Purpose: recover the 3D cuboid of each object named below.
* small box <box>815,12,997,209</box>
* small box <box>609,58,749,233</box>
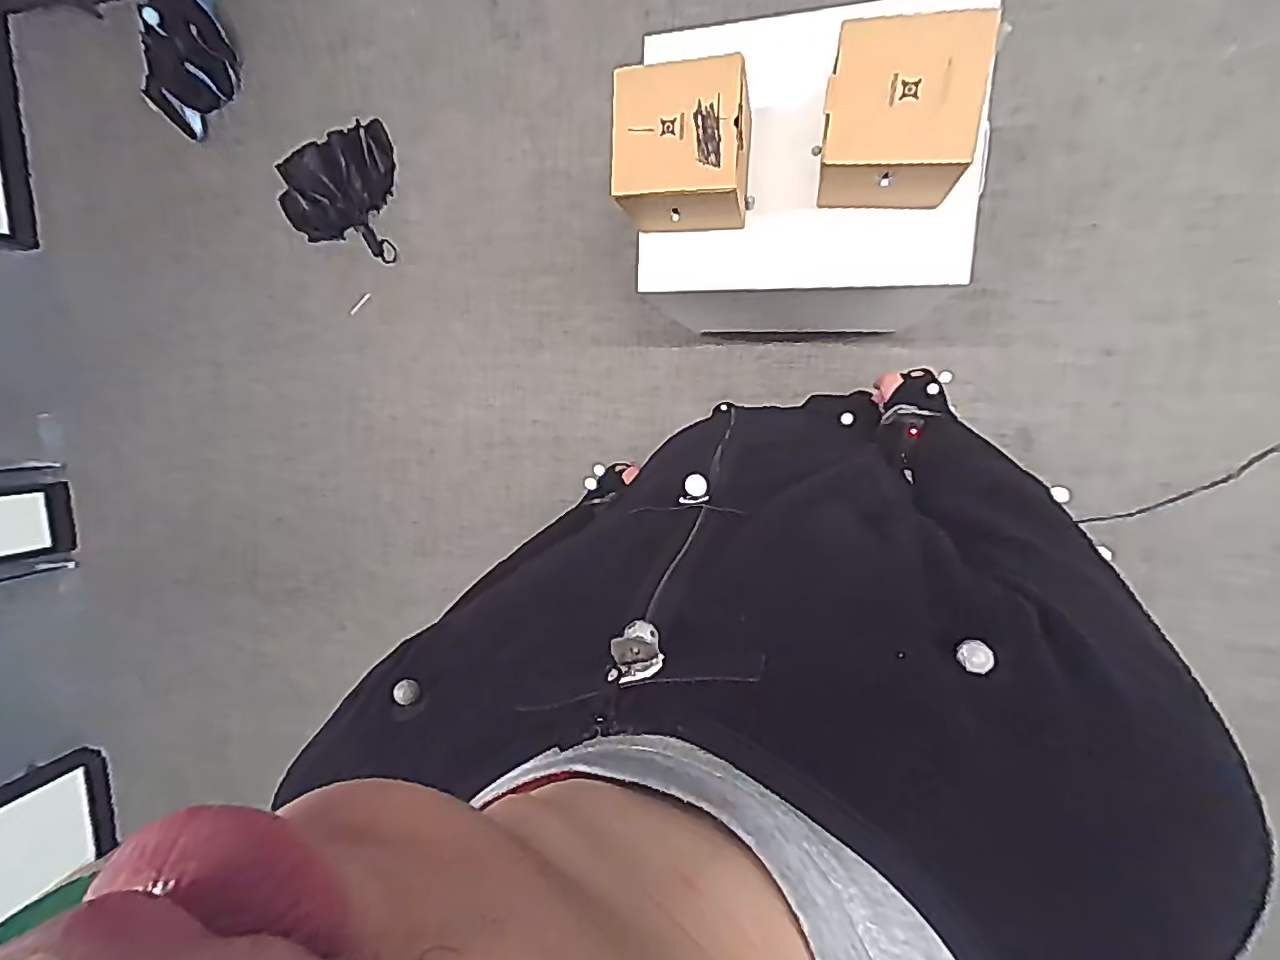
[{"bbox_3d":[0.337,-0.476,0.725,0.179,0.176,0.168,8,101,14],"label":"small box"},{"bbox_3d":[0.064,-0.477,0.798,0.179,0.176,0.168,5,98,15],"label":"small box"}]
